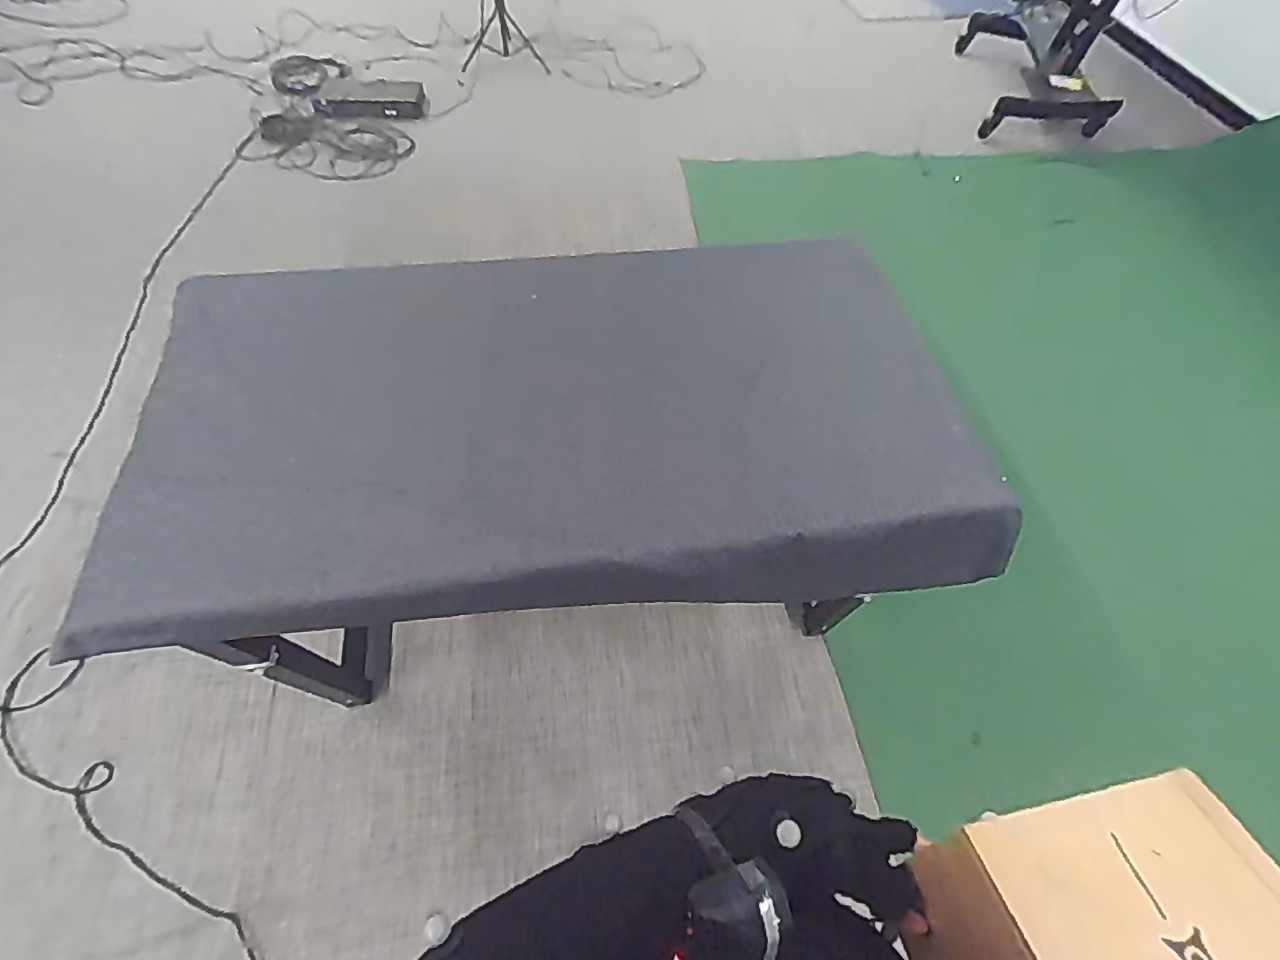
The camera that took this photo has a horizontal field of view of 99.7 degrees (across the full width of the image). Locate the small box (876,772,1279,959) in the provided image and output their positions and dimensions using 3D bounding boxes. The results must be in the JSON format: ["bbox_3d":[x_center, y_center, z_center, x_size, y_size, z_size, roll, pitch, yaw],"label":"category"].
[{"bbox_3d":[0.283,0.316,0.339,0.168,0.176,0.179,-7,44,-8],"label":"small box"}]
